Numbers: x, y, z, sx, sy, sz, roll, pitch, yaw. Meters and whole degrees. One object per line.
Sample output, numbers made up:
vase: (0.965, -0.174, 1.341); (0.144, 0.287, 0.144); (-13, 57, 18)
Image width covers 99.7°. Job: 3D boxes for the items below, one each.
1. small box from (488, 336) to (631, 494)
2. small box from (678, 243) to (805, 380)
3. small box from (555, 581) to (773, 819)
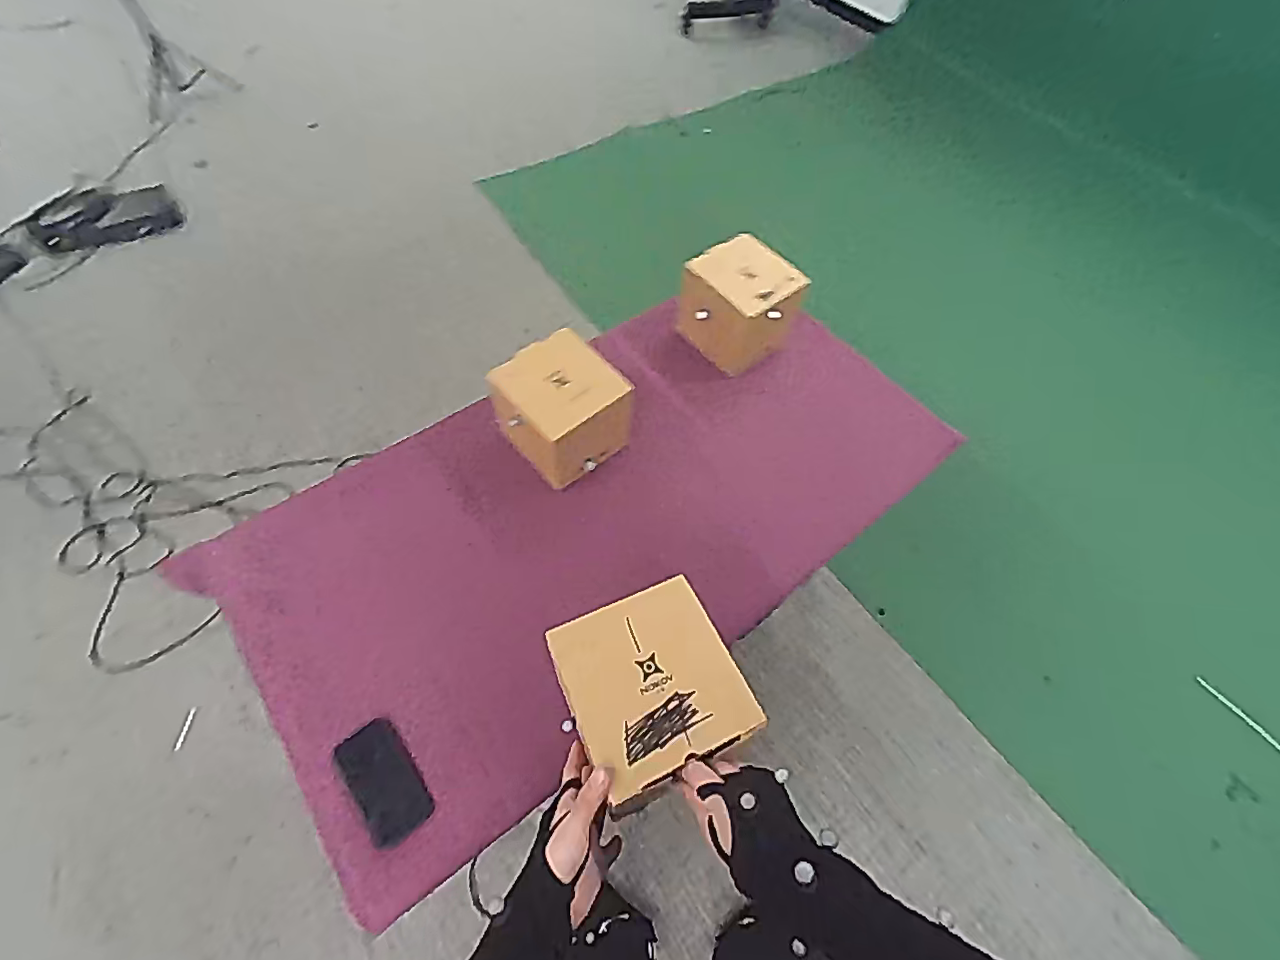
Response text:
small box: (-0.135, -0.108, 0.936); (0.168, 0.176, 0.179); (-37, 68, -21)
small box: (0.193, -0.336, 1.092); (0.168, 0.176, 0.179); (-35, 67, -21)
small box: (0.018, 0.247, 0.596); (0.168, 0.176, 0.179); (-18, 54, -16)
